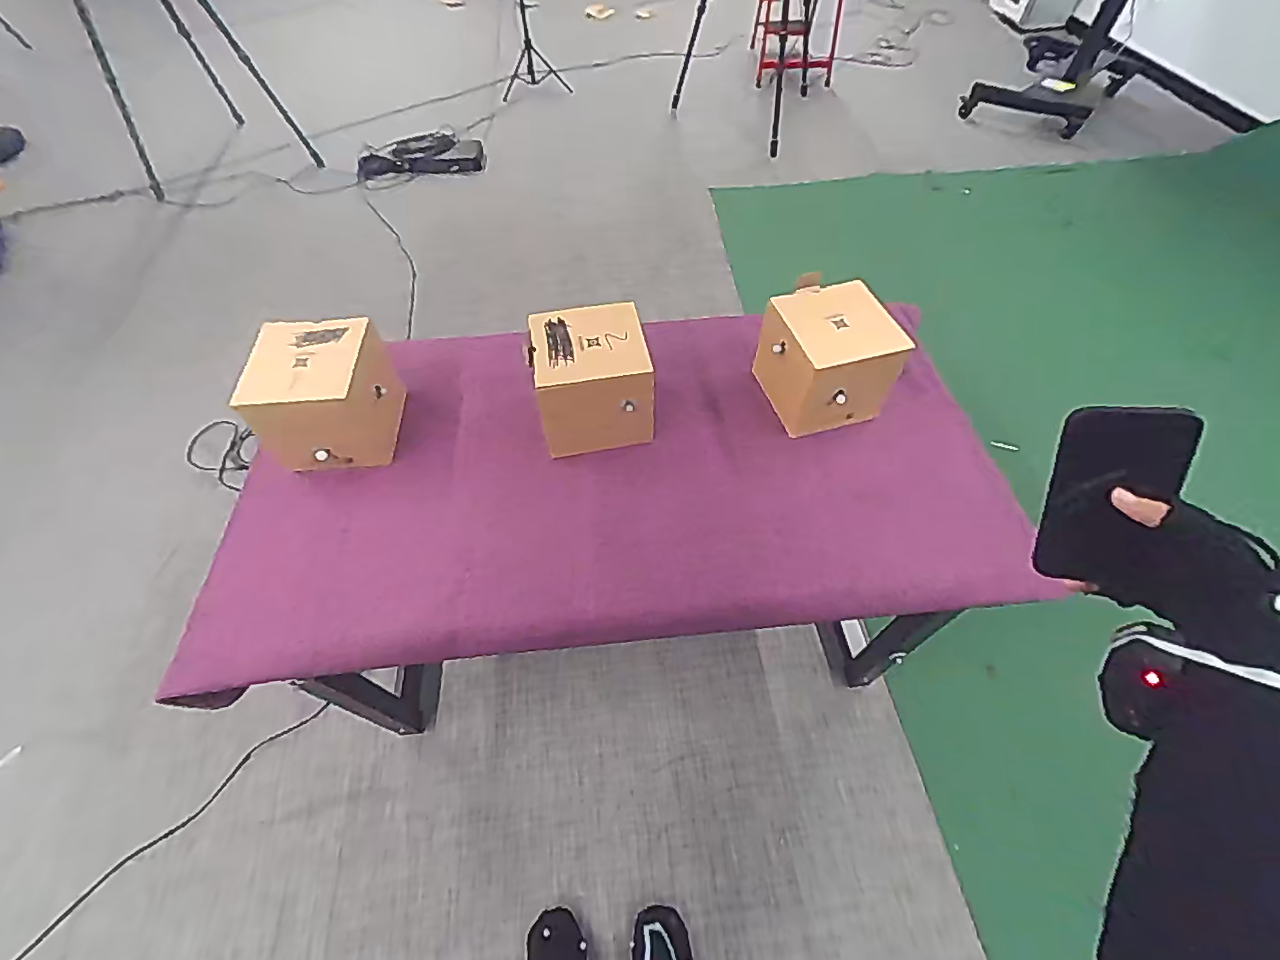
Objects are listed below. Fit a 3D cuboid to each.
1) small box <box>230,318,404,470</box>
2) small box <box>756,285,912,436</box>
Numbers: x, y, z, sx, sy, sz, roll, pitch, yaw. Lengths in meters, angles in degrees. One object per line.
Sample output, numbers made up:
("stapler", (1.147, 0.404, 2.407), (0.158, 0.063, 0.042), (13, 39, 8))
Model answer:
("small box", (-0.501, -0.136, 0.873), (0.168, 0.176, 0.179), (-4, 57, -2))
("small box", (0.311, -0.193, 0.909), (0.168, 0.176, 0.179), (-13, 56, -8))
